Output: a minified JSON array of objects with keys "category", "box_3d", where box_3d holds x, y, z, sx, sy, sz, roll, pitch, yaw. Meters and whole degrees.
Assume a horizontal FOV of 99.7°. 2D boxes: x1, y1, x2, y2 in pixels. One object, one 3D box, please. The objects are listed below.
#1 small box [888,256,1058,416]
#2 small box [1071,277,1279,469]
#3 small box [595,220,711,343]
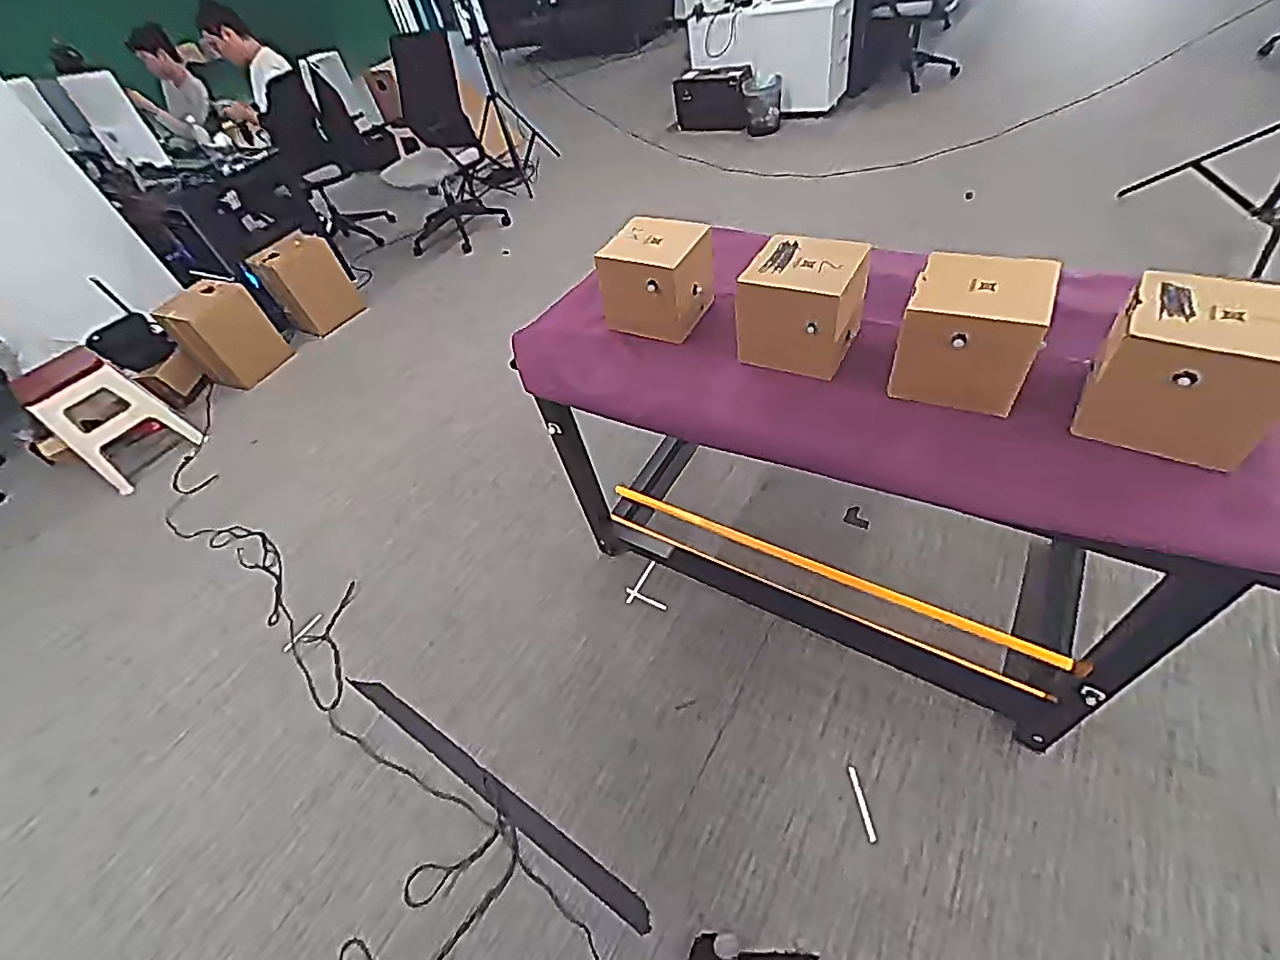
[{"category":"small box","box_3d":[0.508,-0.222,0.841,0.179,0.176,0.168,17,55,27]},{"category":"small box","box_3d":[0.714,-0.141,0.715,0.179,0.176,0.168,23,57,29]},{"category":"small box","box_3d":[0.037,-0.403,1.105,0.179,0.176,0.168,19,56,24]}]
